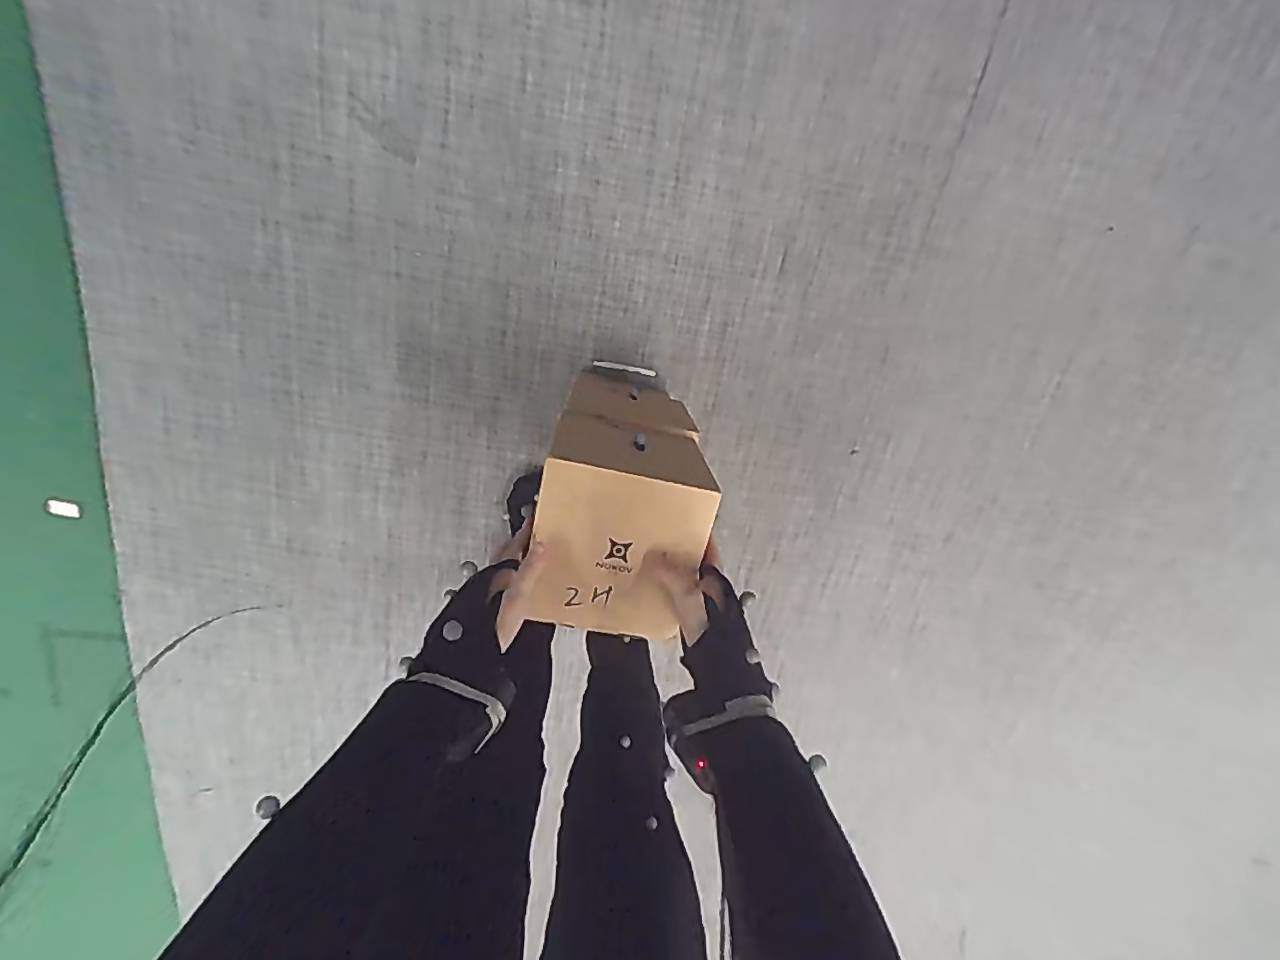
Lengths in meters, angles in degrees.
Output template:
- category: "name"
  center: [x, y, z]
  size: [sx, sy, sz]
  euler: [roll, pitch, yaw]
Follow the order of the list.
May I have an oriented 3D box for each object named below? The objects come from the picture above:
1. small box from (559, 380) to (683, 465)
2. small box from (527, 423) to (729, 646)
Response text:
- category: "small box"
  center: [-0.041, -0.056, 0.912]
  size: [0.168, 0.176, 0.179]
  euler: [14, 109, -9]
- category: "small box"
  center: [-0.019, 0.049, 0.601]
  size: [0.168, 0.176, 0.179]
  euler: [13, 109, -8]
